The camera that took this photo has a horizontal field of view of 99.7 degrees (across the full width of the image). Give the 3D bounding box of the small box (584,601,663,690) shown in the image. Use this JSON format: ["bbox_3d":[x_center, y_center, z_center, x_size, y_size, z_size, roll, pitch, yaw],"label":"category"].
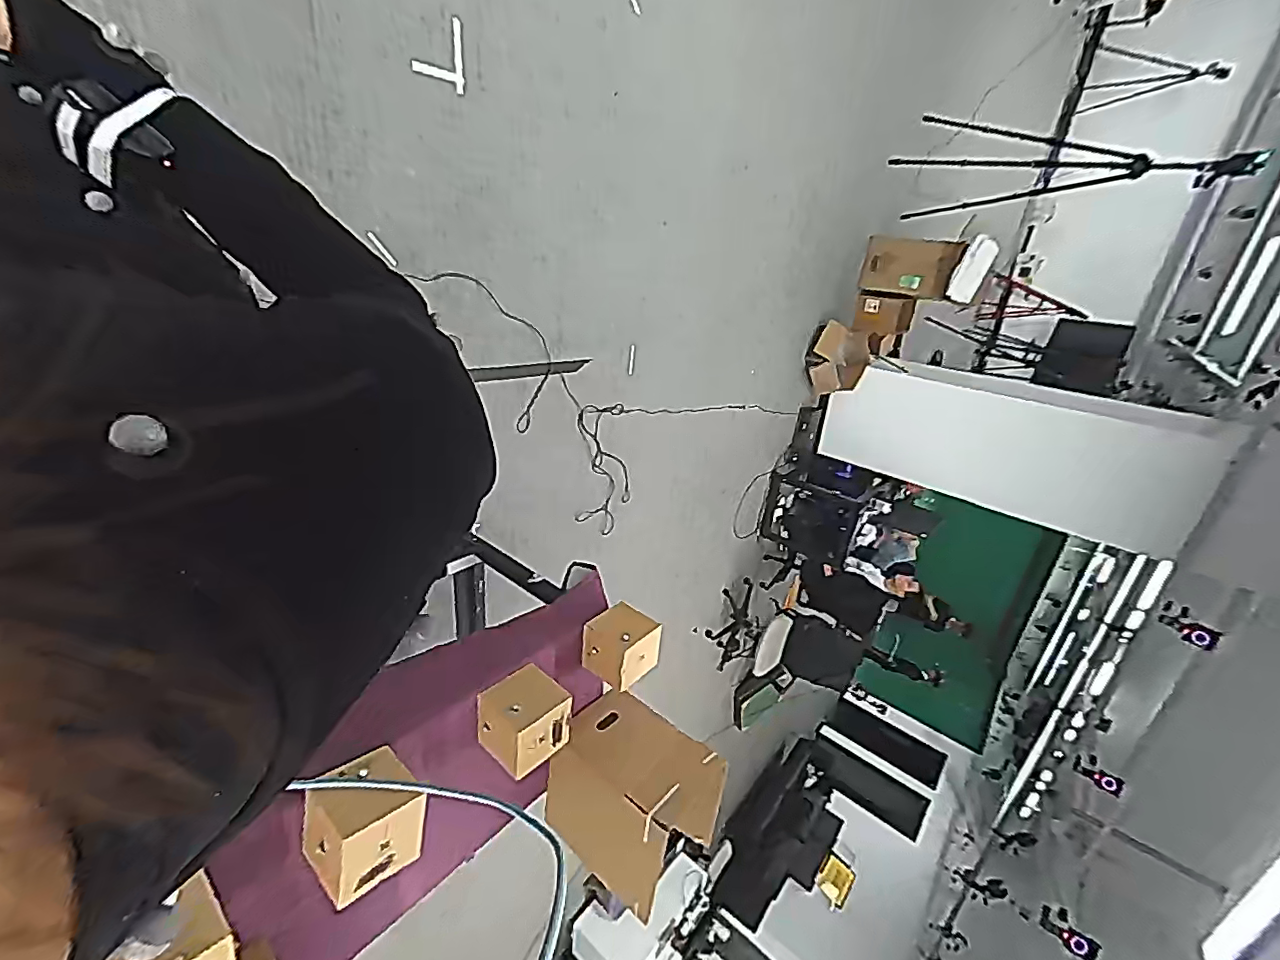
[{"bbox_3d":[-0.054,0.507,1.690,0.179,0.176,0.168,-23,127,-45],"label":"small box"}]

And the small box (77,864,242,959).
[{"bbox_3d":[-0.765,0.780,0.870,0.168,0.176,0.179,-15,121,-51],"label":"small box"}]
